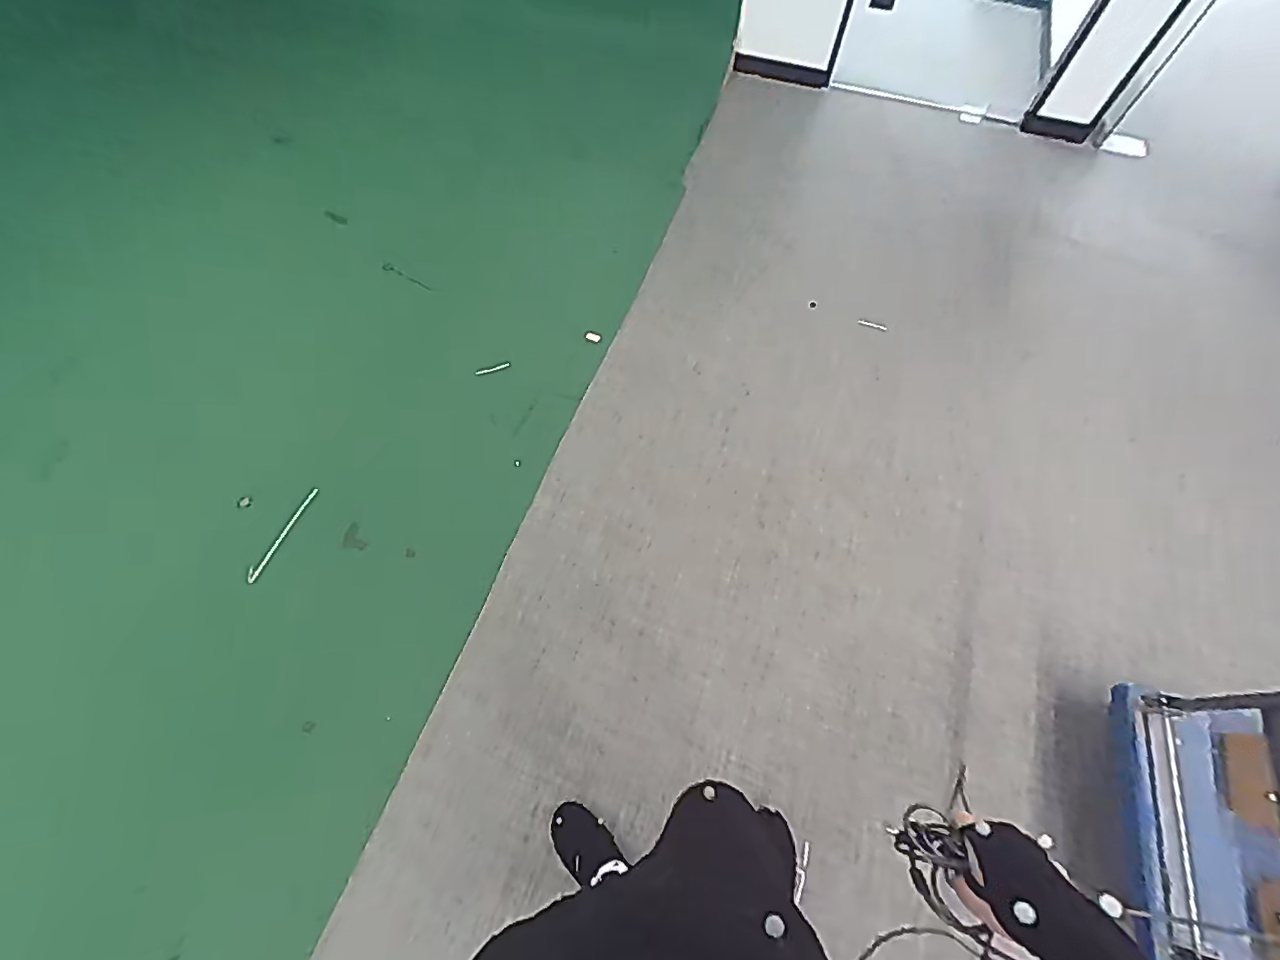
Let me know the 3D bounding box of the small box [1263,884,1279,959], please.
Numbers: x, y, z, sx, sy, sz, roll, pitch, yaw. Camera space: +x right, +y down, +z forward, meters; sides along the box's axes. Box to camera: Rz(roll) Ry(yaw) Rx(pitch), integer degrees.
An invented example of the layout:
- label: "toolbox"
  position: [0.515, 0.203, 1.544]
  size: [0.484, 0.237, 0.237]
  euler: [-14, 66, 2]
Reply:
- label: "small box"
  position: [1.354, 0.889, 1.009]
  size: [0.179, 0.176, 0.168]
  euler: [15, 64, 7]
